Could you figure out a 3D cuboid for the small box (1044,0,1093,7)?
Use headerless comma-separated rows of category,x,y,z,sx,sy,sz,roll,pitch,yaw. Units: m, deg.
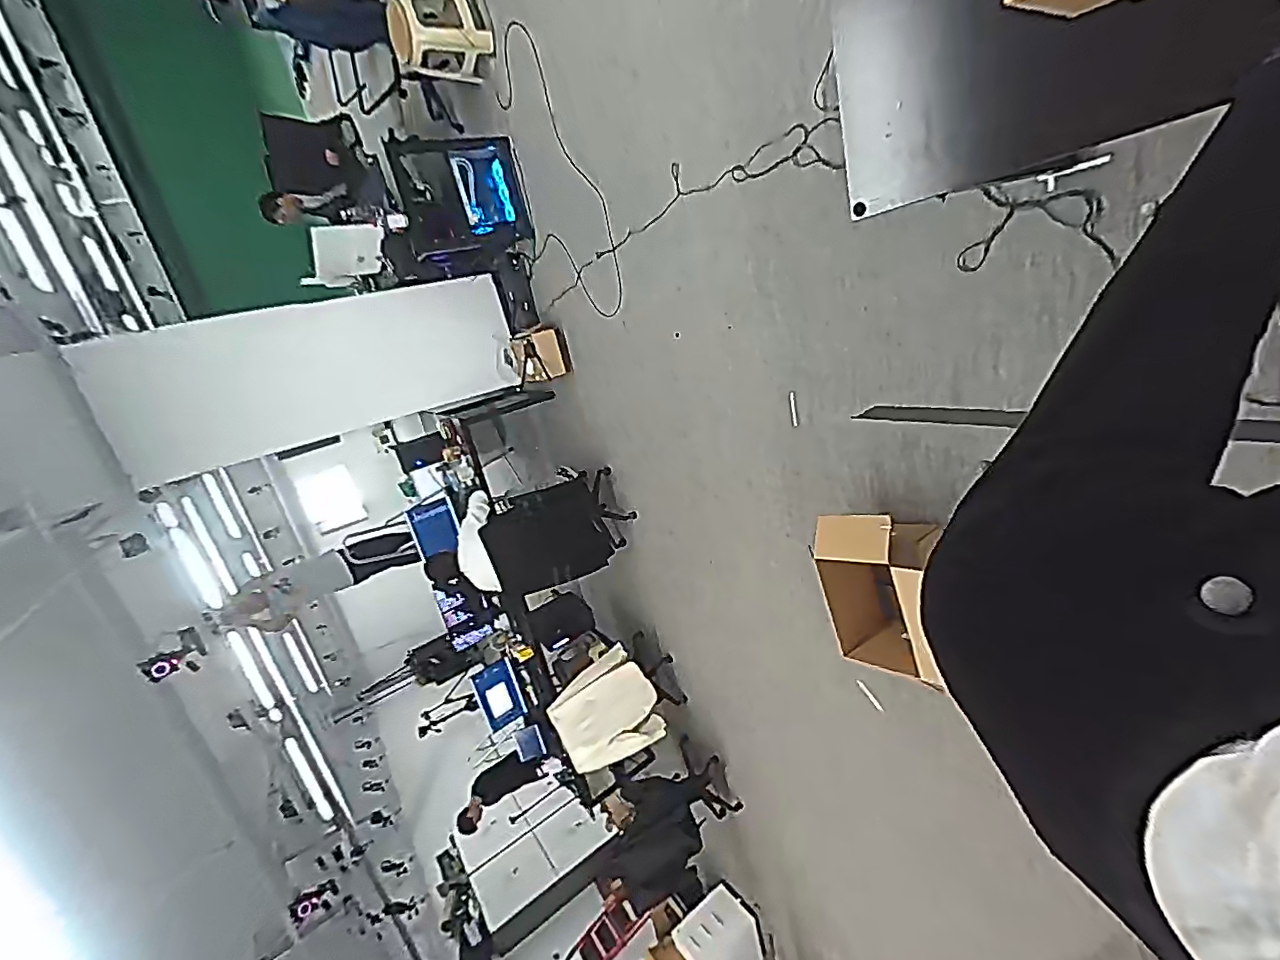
small box,0.456,-0.576,0.492,0.168,0.176,0.179,21,128,53
